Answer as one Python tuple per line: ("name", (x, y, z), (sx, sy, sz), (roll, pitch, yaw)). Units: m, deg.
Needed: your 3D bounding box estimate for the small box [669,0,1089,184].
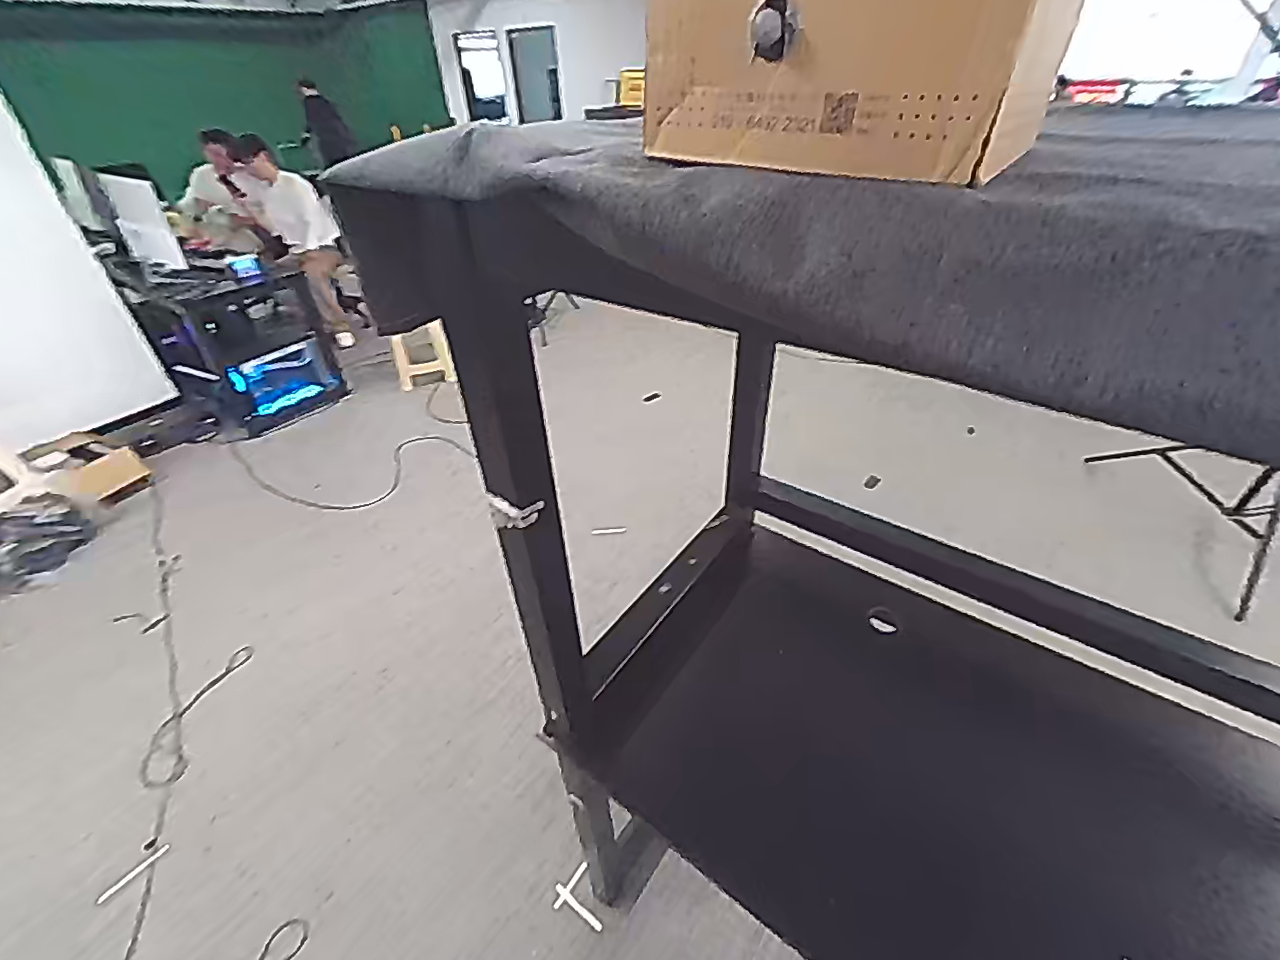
("small box", (0.123, -0.254, 0.260), (0.168, 0.176, 0.179), (24, 43, 28))
